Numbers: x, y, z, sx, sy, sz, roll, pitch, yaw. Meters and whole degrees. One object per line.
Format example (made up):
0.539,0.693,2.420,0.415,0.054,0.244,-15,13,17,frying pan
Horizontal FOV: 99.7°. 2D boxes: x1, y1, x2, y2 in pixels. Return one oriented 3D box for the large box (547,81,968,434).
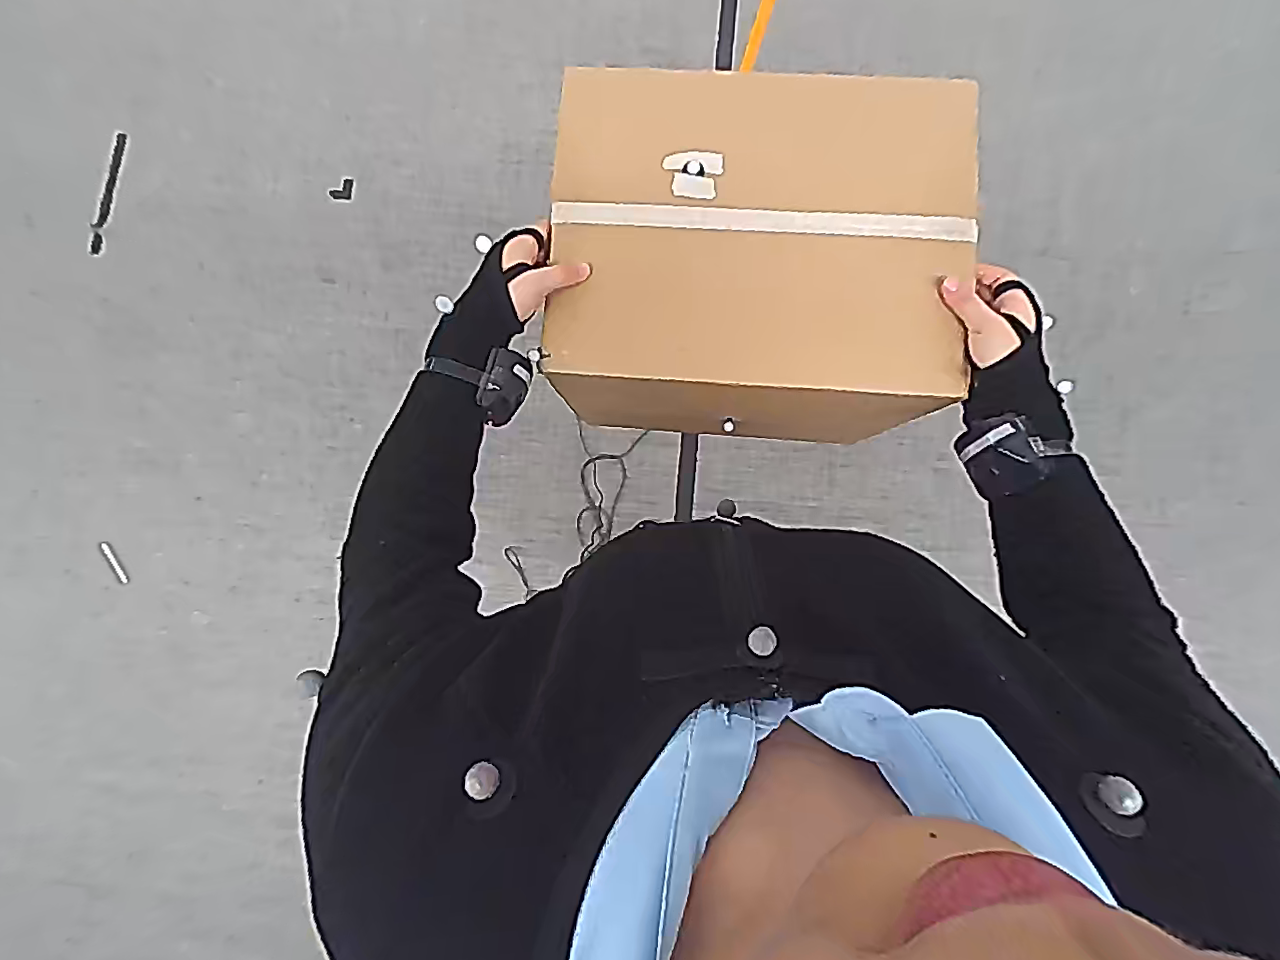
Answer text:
0.126,-0.236,0.678,0.408,0.320,0.320,4,85,4,large box
